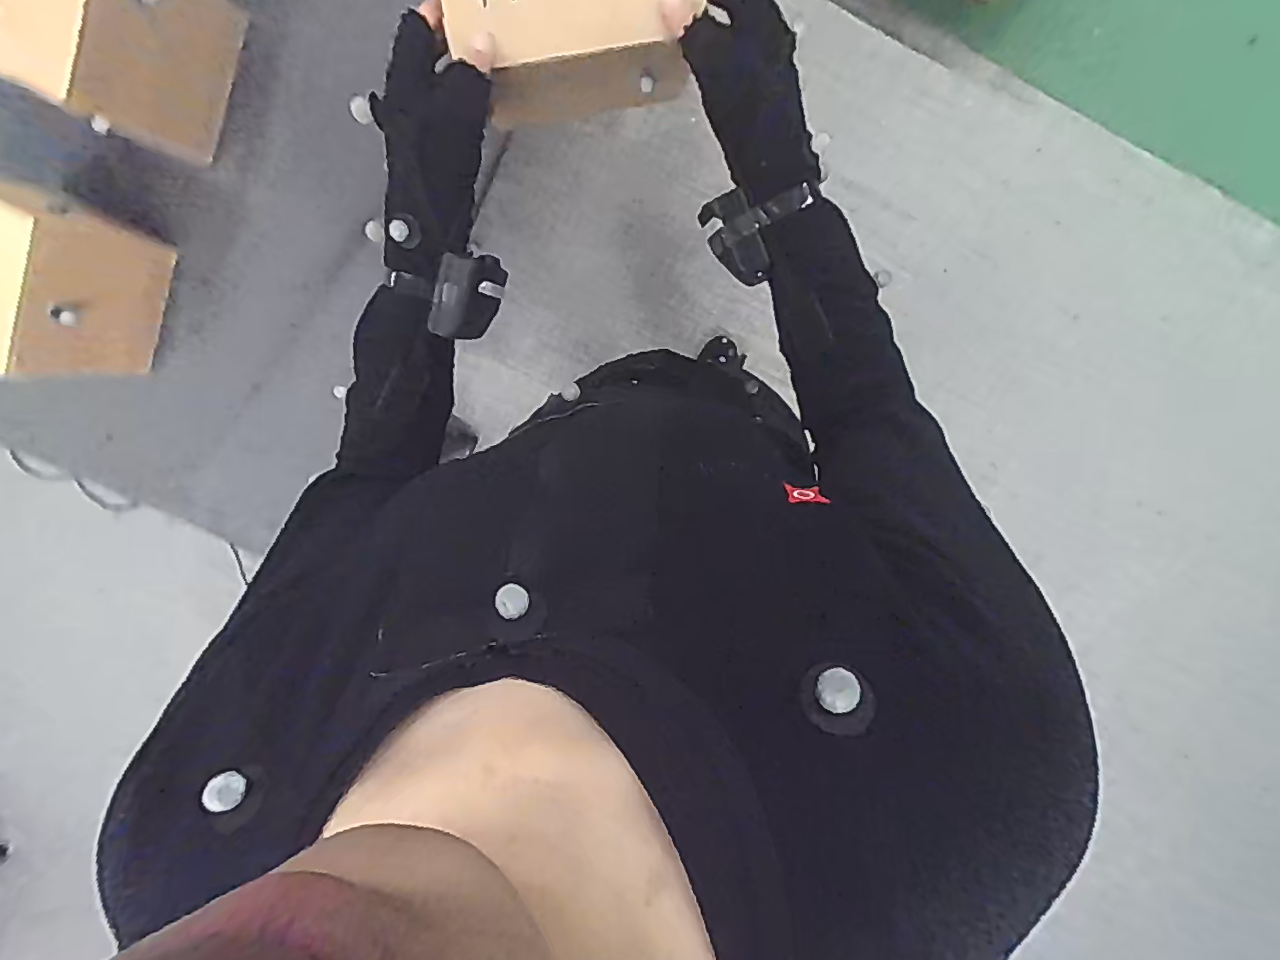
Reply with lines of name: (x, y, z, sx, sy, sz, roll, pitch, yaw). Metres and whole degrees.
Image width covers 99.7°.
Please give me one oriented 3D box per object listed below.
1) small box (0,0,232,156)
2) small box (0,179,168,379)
small box: (-0.571, -0.480, 0.556, 0.168, 0.176, 0.179, 26, 104, -3)
small box: (-0.707, -0.237, 0.628, 0.168, 0.176, 0.179, 25, 105, -4)
